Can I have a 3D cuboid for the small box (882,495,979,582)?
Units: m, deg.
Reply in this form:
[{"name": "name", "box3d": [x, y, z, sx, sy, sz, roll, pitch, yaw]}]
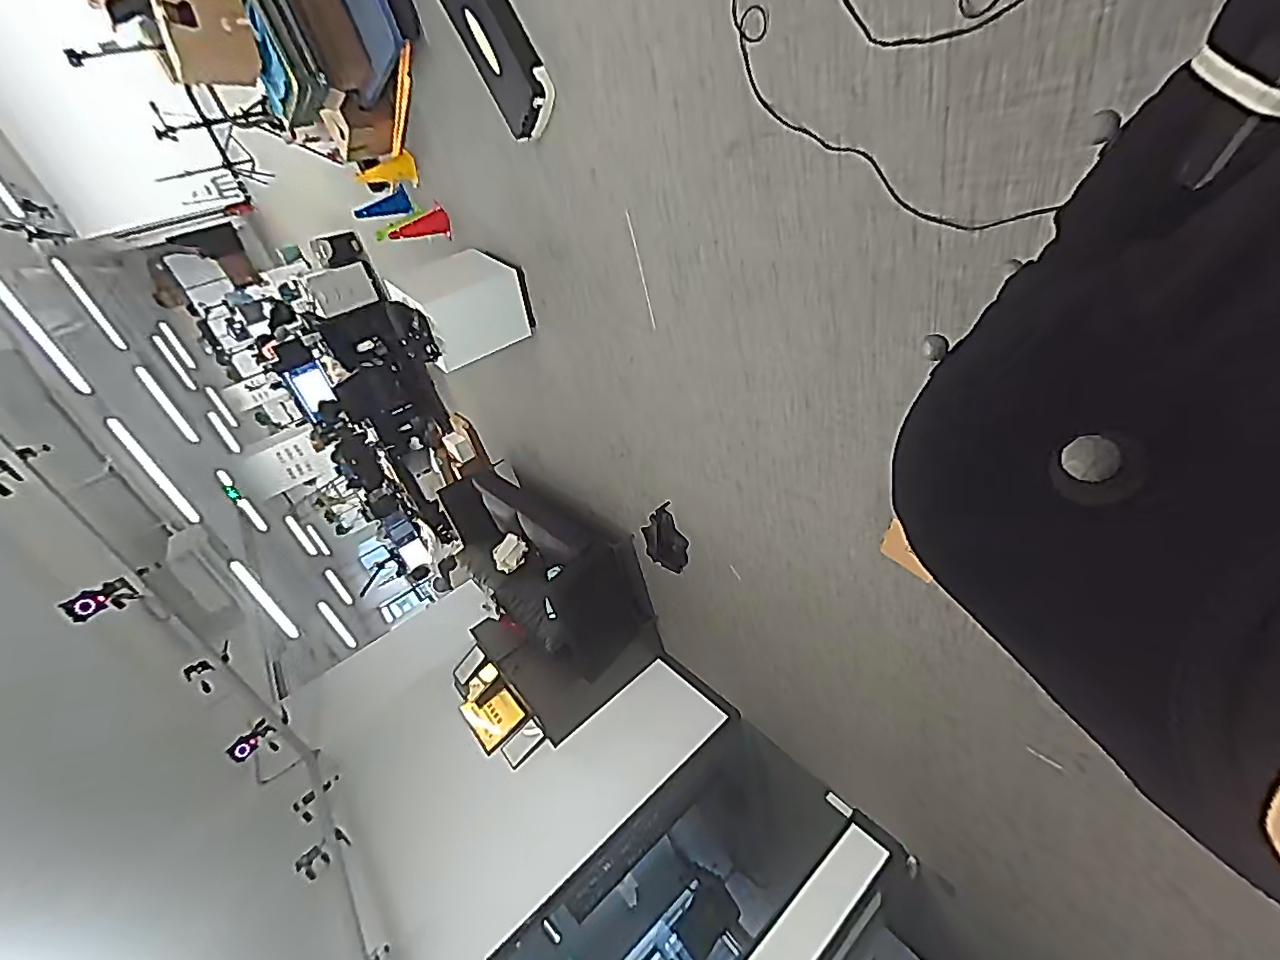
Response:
[{"name": "small box", "box3d": [0.881, 0.169, 1.646, 0.179, 0.176, 0.168, 38, 149, 33]}]
